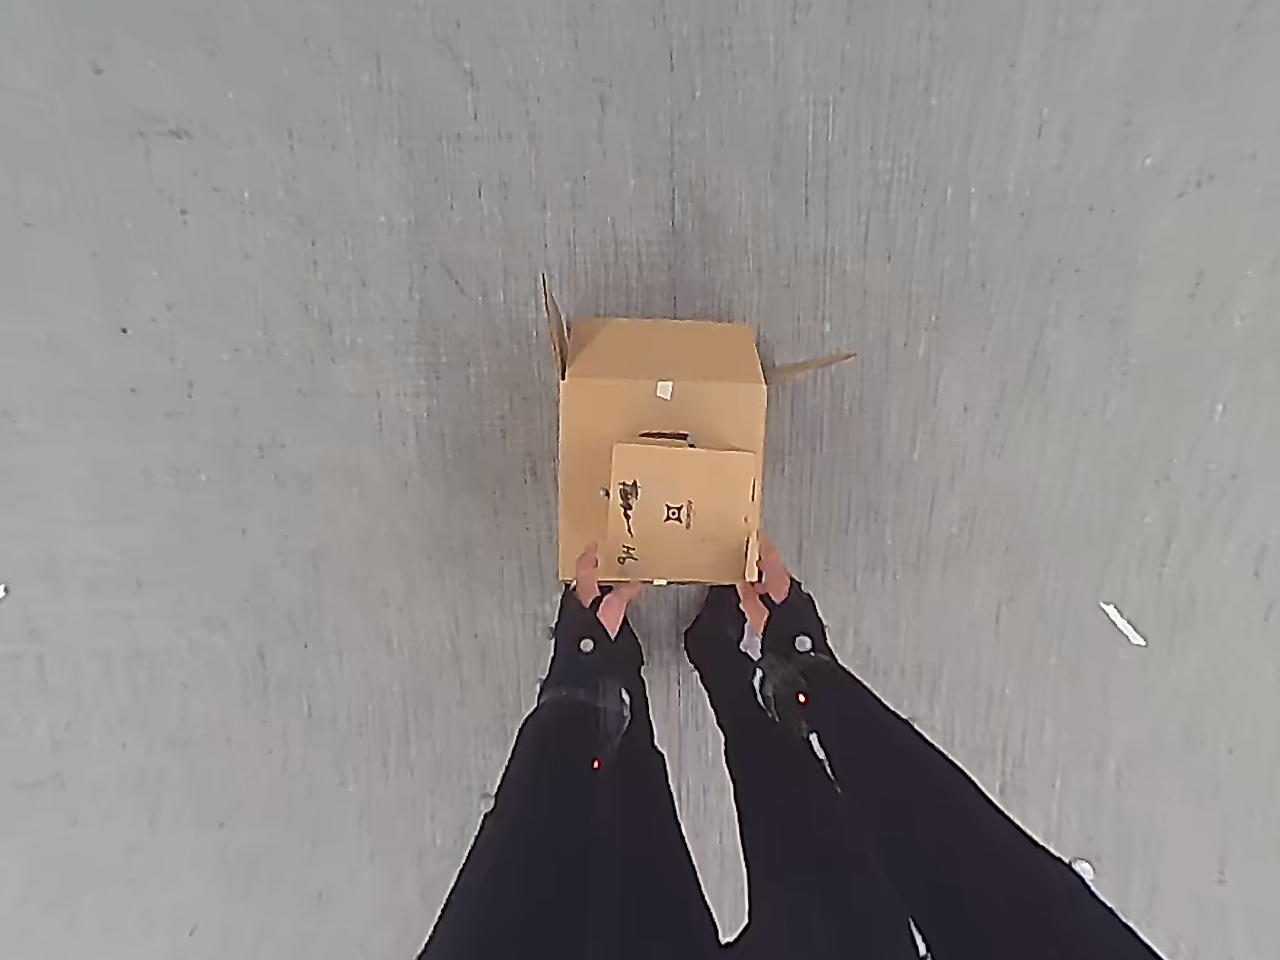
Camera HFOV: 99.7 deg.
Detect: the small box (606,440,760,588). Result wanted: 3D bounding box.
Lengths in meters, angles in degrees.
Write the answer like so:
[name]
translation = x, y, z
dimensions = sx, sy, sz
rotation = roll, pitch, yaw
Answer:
[small box]
translation = 0.047, 0.036, 0.727
dimensions = 0.179, 0.176, 0.168
rotation = 4, 97, -4
